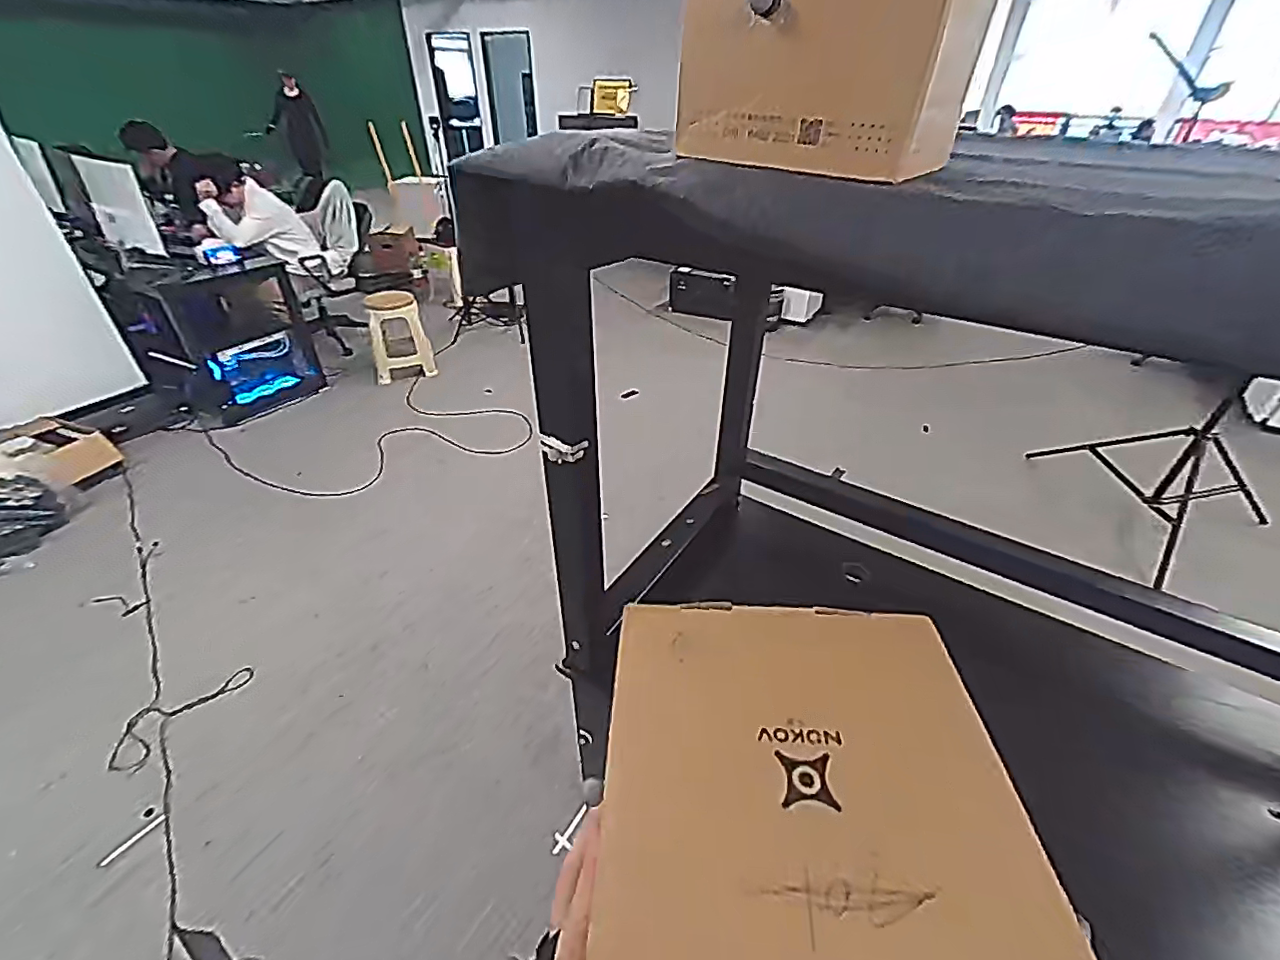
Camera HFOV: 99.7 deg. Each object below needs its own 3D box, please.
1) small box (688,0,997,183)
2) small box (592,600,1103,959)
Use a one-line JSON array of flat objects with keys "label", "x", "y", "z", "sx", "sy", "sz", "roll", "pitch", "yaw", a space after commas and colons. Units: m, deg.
[{"label": "small box", "x": 0.145, "y": -0.316, "z": 0.383, "sx": 0.168, "sy": 0.176, "sz": 0.179, "roll": 24, "pitch": 40, "yaw": 26}, {"label": "small box", "x": 0.069, "y": 0.184, "z": 0.268, "sx": 0.168, "sy": 0.176, "sz": 0.179, "roll": 1, "pitch": 36, "yaw": 3}]
